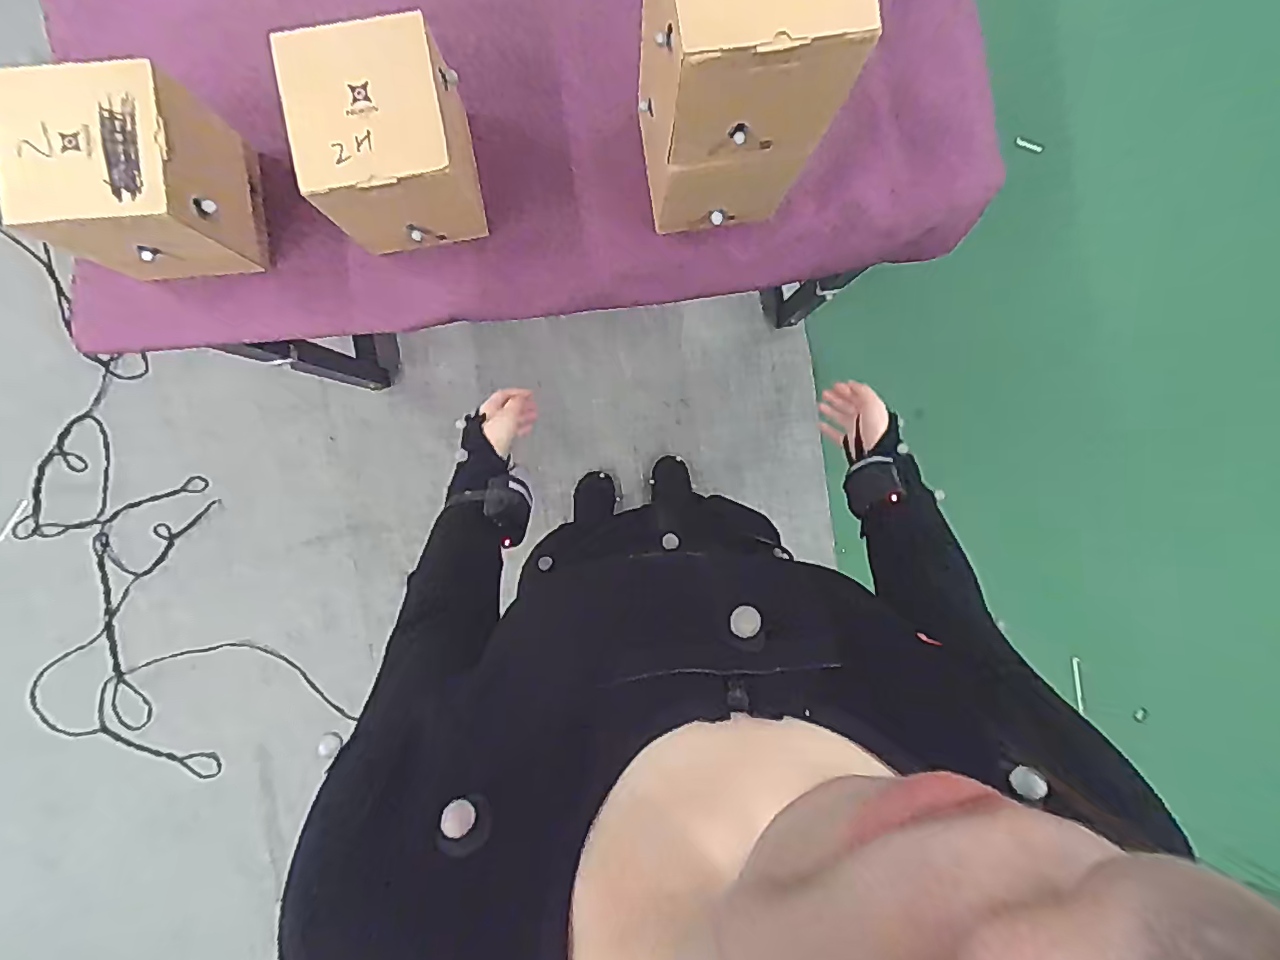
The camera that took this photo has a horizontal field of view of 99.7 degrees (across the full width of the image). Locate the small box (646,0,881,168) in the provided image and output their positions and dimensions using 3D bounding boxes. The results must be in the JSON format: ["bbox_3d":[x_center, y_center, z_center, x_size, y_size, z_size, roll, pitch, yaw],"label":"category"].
[{"bbox_3d":[0.100,-0.435,0.512,0.168,0.176,0.179,-9,93,-1],"label":"small box"}]

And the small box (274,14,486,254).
[{"bbox_3d":[-0.300,-0.404,0.660,0.168,0.176,0.179,-10,92,-1],"label":"small box"}]

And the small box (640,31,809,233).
[{"bbox_3d":[0.093,-0.437,0.675,0.168,0.176,0.179,-9,93,-1],"label":"small box"}]
